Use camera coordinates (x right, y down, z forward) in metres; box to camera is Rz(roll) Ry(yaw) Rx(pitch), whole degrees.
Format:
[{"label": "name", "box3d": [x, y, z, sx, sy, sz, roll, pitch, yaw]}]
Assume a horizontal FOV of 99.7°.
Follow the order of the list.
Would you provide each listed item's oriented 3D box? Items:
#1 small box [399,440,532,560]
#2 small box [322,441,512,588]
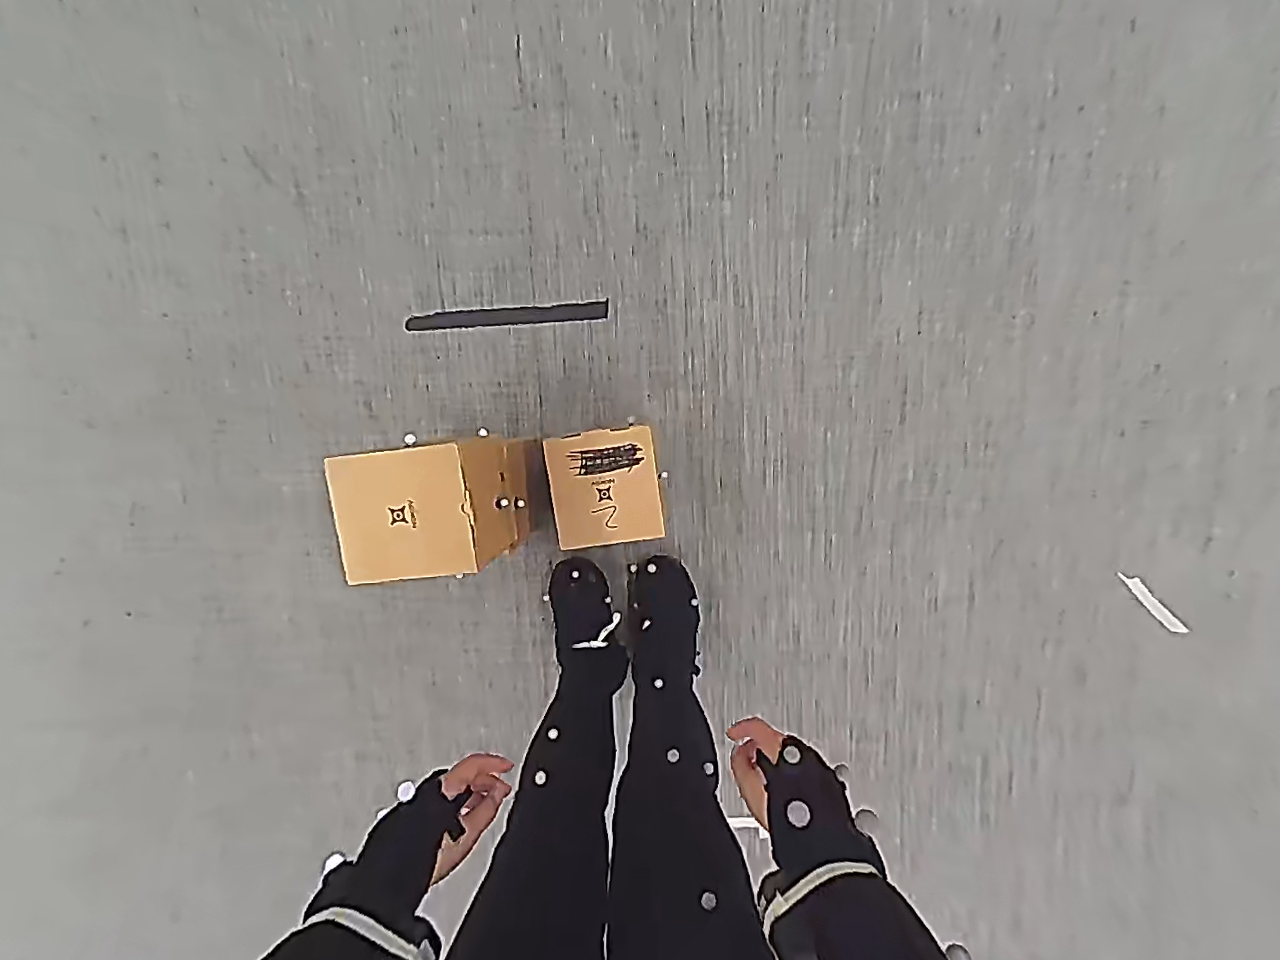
[{"label": "small box", "box3d": [-0.283, 0.026, 0.910, 0.168, 0.176, 0.179, 0, 97, 3]}, {"label": "small box", "box3d": [-0.294, 0.039, 0.748, 0.179, 0.176, 0.168, -7, 97, 3]}]
